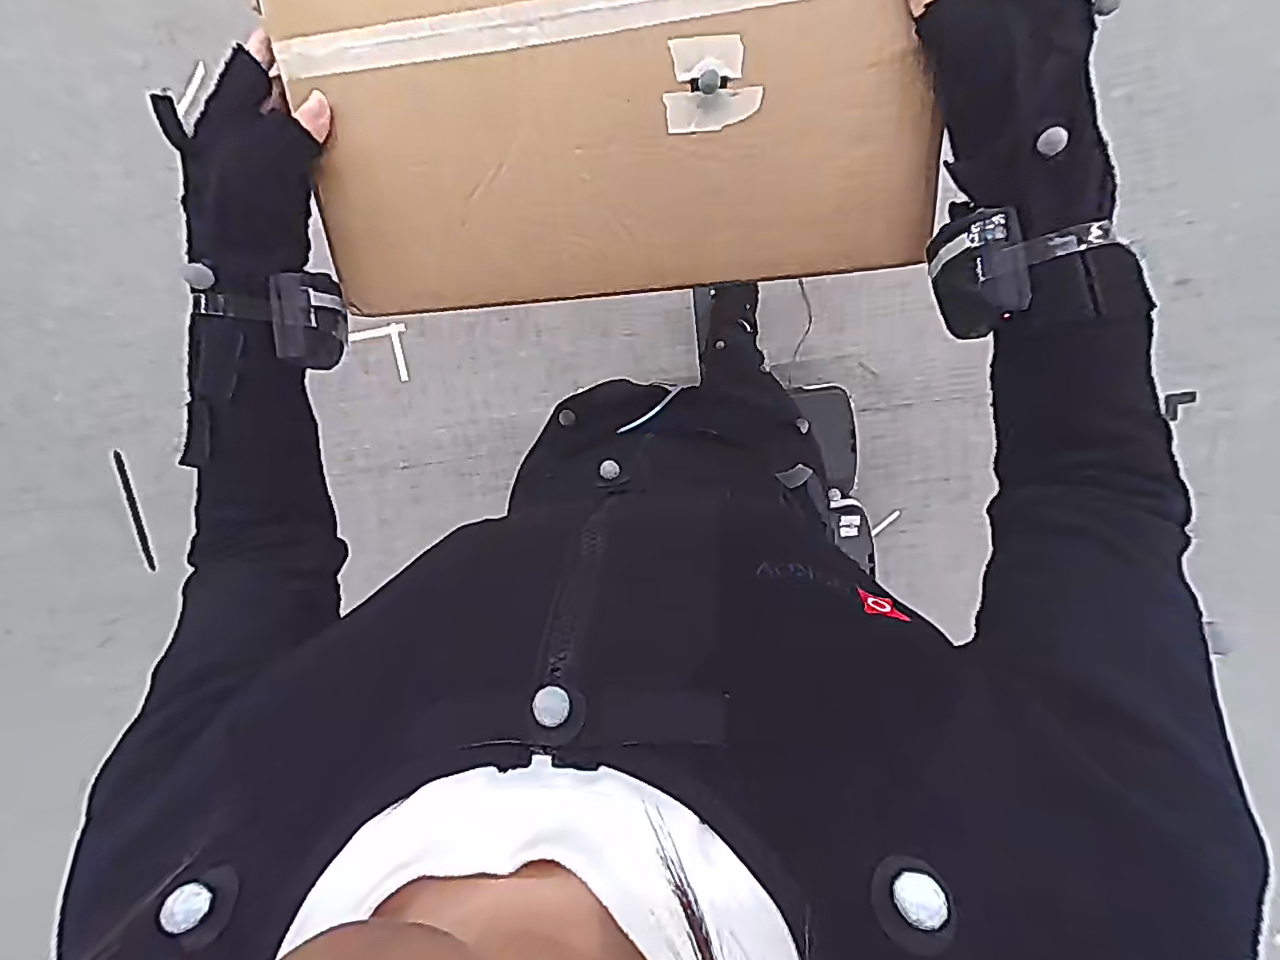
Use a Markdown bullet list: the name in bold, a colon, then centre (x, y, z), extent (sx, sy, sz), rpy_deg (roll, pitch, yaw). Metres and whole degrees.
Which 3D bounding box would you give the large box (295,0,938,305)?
- **large box**: centre (-0.011, -0.342, 0.472), extent (0.408, 0.320, 0.320), rpy_deg (-4, 111, 6)

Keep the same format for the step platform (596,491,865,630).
- **step platform**: centre (0.227, 0.217, 1.433), extent (0.684, 0.204, 0.286), rpy_deg (-6, 99, 10)
